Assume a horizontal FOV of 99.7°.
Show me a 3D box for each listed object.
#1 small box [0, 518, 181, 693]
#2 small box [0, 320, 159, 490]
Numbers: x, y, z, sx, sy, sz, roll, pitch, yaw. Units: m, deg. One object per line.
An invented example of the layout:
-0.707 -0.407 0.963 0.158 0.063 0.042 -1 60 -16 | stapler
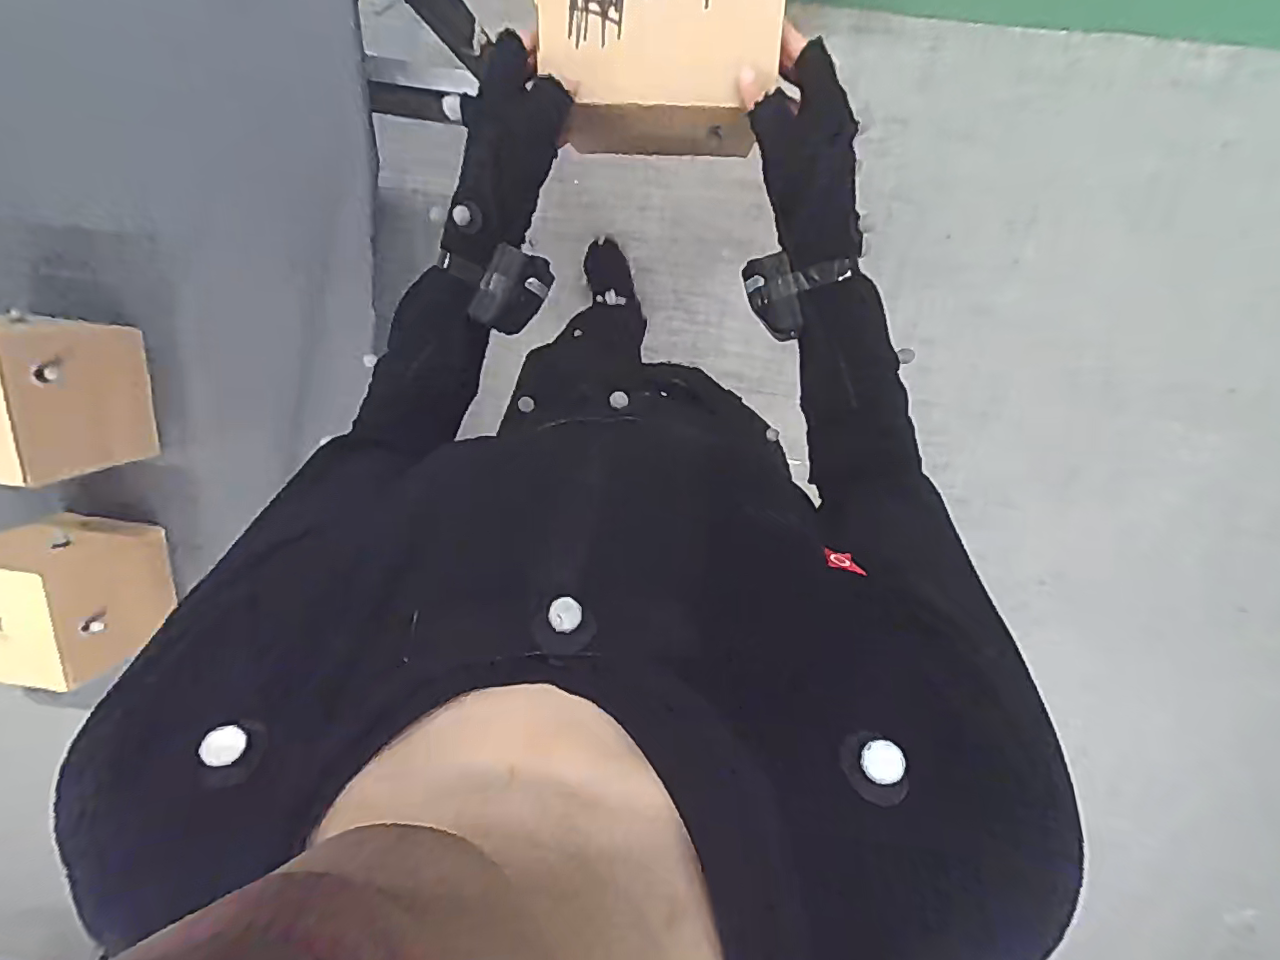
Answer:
-0.806 0.166 0.764 0.168 0.176 0.179 7 108 2 | small box
-0.762 -0.103 0.675 0.168 0.176 0.179 7 108 3 | small box
